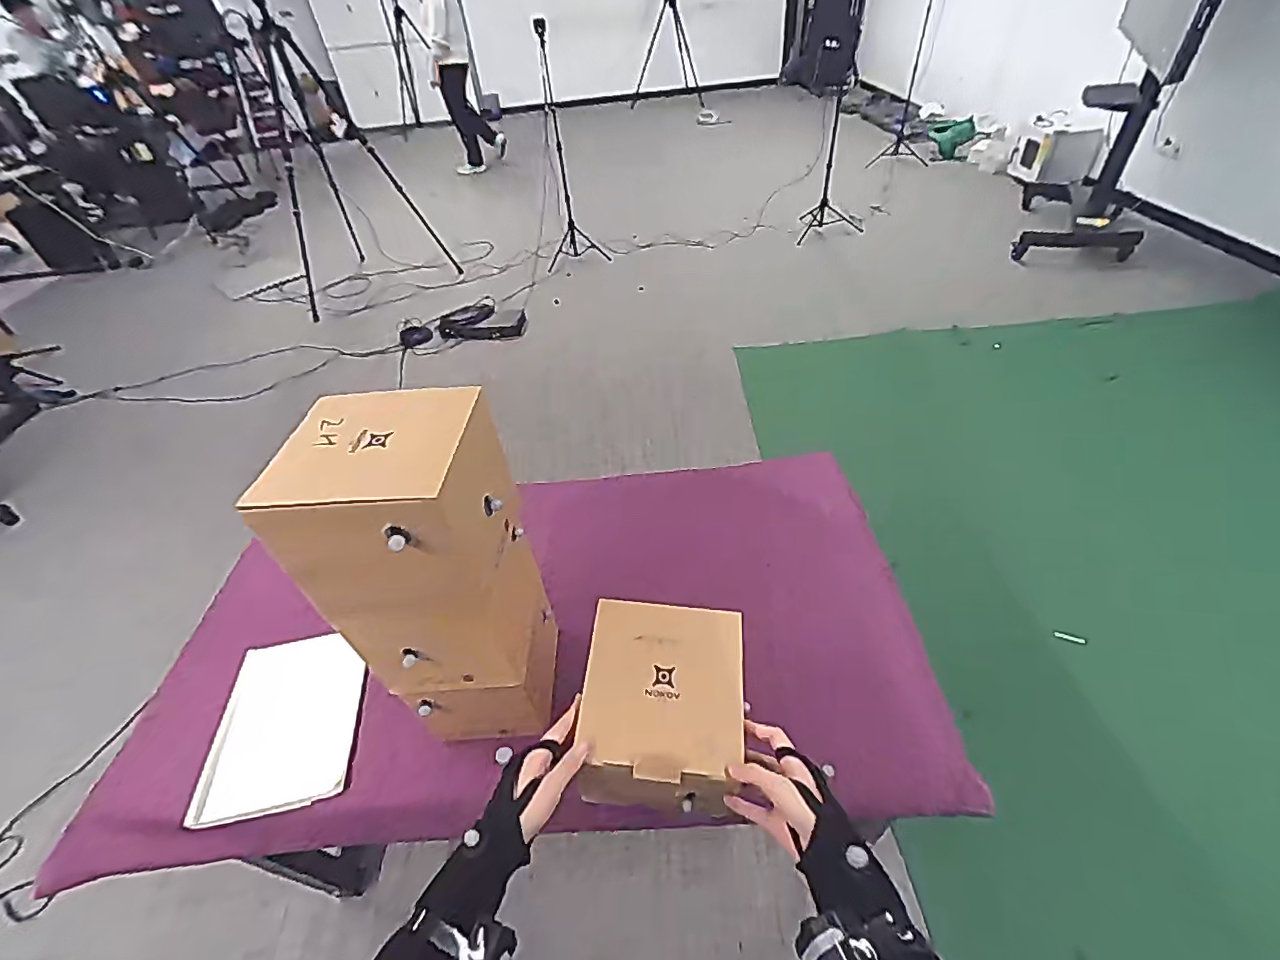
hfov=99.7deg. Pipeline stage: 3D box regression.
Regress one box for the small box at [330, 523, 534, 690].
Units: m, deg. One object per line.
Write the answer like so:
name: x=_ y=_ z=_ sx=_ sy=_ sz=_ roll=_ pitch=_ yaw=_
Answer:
small box: x=-0.235 y=0.145 z=0.669 sx=0.168 sy=0.176 sz=0.179 roll=-4 pitch=42 yaw=2

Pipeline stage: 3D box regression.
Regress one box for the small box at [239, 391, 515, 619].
small box: x=-0.239 y=0.027 z=0.553 sx=0.179 sy=0.176 sz=0.168 roll=-3 pitch=41 yaw=4
